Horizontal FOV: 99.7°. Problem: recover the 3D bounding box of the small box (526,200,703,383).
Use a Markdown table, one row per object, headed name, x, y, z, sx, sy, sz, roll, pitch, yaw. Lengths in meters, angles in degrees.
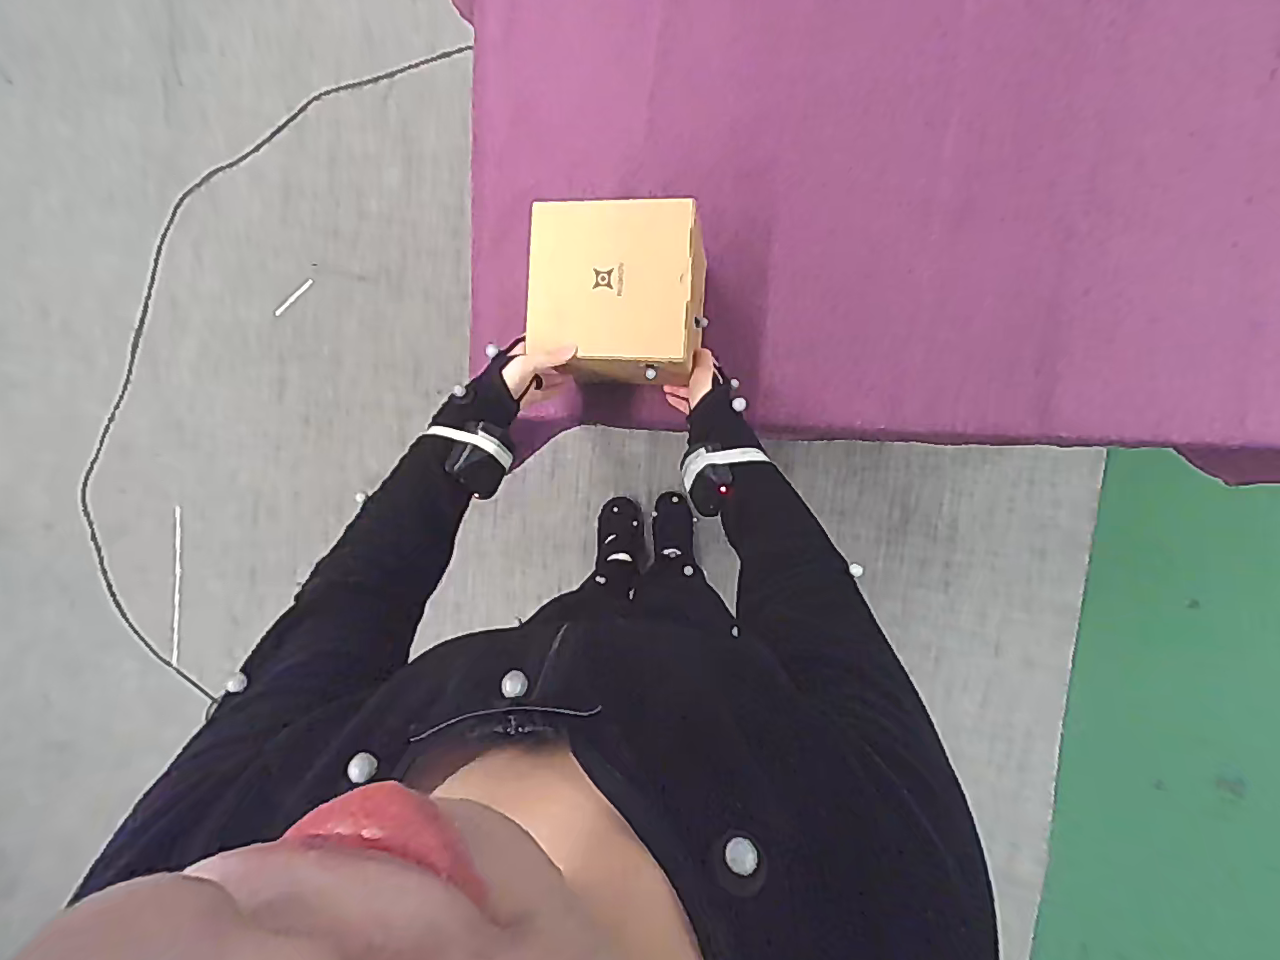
| name | x | y | z | sx | sy | sz | roll | pitch | yaw |
| --- | --- | --- | --- | --- | --- | --- | --- | --- | --- |
| small box | -0.021 | -0.212 | 0.648 | 0.179 | 0.176 | 0.168 | 4 | 91 | 8 |
